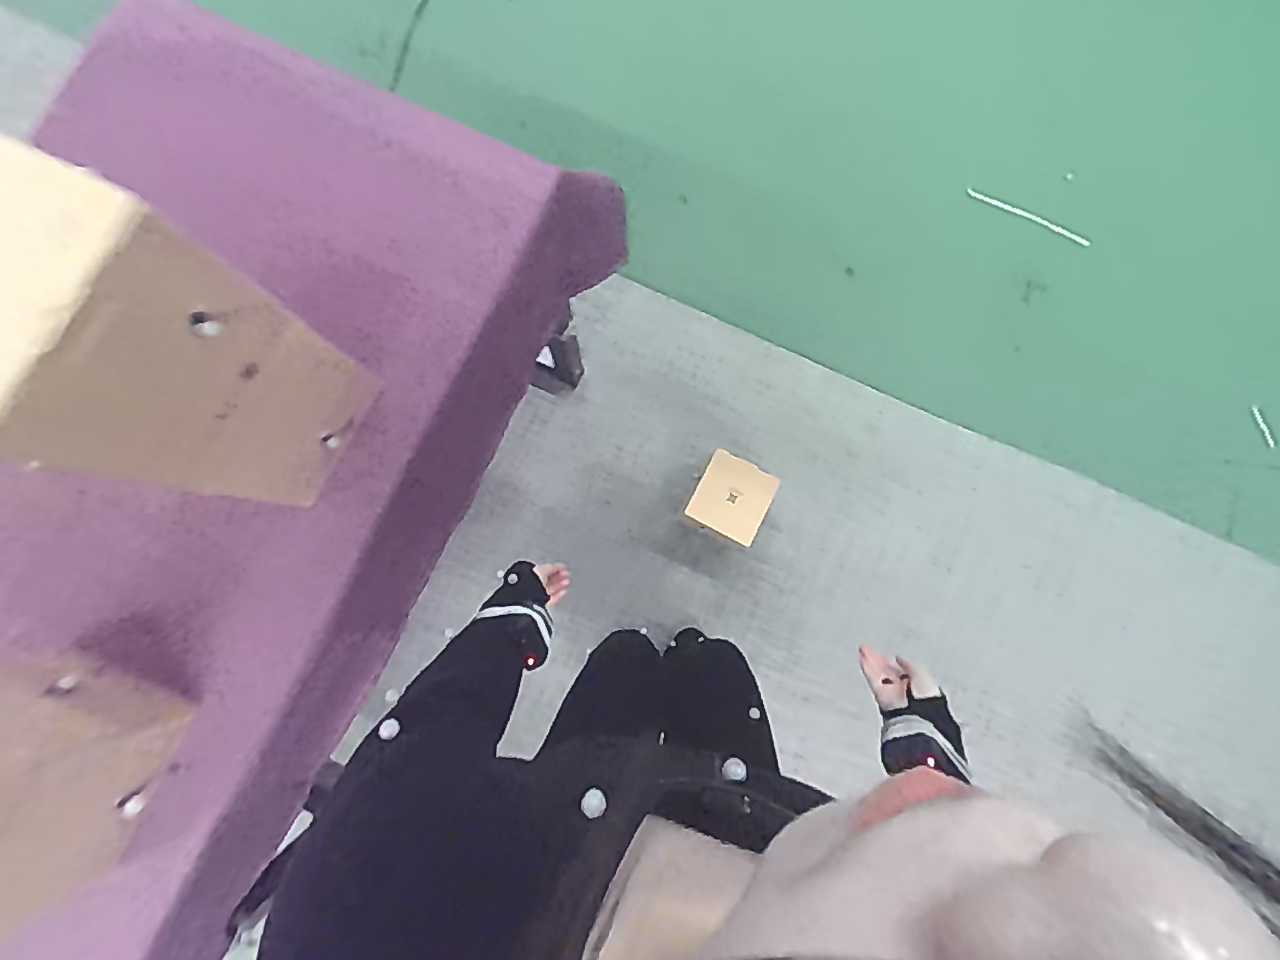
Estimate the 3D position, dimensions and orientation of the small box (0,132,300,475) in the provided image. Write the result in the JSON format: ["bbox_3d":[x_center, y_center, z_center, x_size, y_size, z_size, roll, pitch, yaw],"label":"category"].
[{"bbox_3d":[-0.397,-0.114,0.388,0.179,0.176,0.168,25,81,1],"label":"small box"}]

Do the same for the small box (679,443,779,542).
[{"bbox_3d":[0.205,0.039,1.294,0.168,0.176,0.179,28,81,1],"label":"small box"}]
